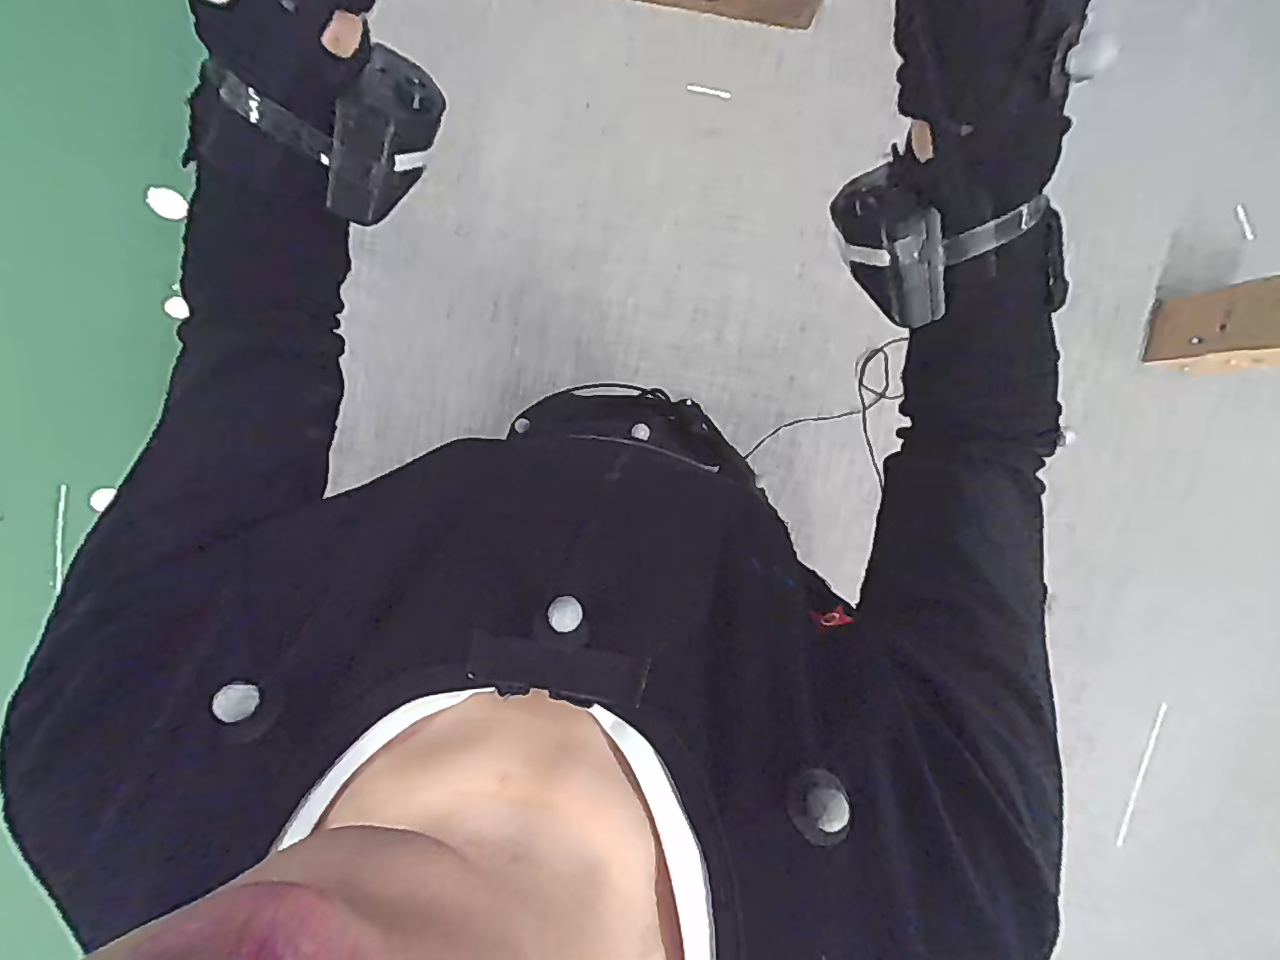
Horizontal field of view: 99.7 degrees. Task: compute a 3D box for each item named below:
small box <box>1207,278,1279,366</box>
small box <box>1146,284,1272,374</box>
[{"bbox_3d":[1.430,-0.347,1.185,0.179,0.176,0.168,10,97,-3],"label":"small box"},{"bbox_3d":[1.430,-0.368,1.348,0.168,0.176,0.179,10,98,-1],"label":"small box"}]
